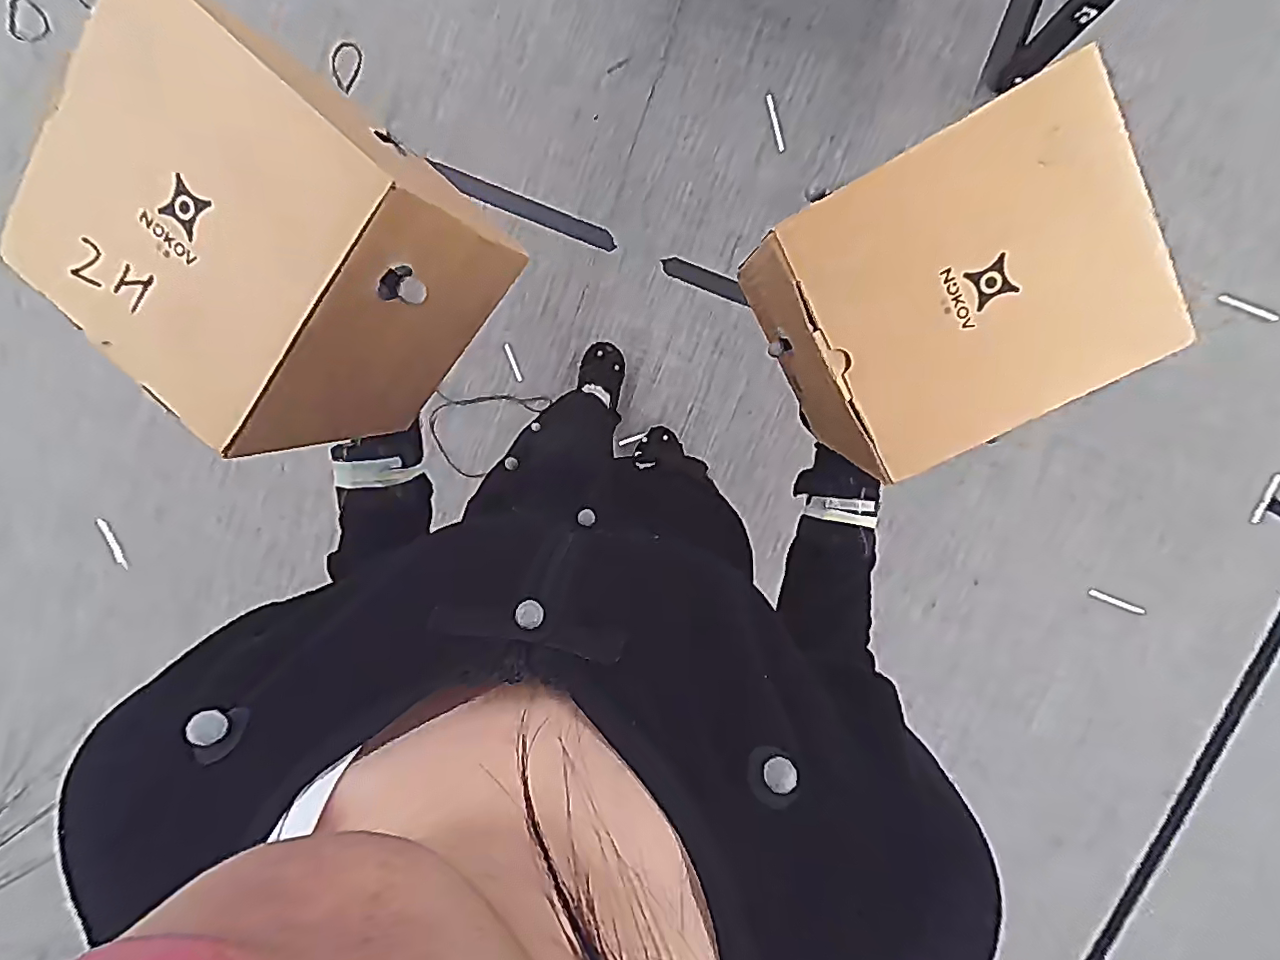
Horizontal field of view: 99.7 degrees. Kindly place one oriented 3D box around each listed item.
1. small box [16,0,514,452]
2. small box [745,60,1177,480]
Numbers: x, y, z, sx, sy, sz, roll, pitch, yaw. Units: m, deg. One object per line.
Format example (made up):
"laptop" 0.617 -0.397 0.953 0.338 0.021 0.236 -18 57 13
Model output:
"small box" -0.205 -0.144 0.346 0.168 0.176 0.179 42 105 1
"small box" 0.192 -0.126 0.378 0.179 0.176 0.168 -28 101 10
